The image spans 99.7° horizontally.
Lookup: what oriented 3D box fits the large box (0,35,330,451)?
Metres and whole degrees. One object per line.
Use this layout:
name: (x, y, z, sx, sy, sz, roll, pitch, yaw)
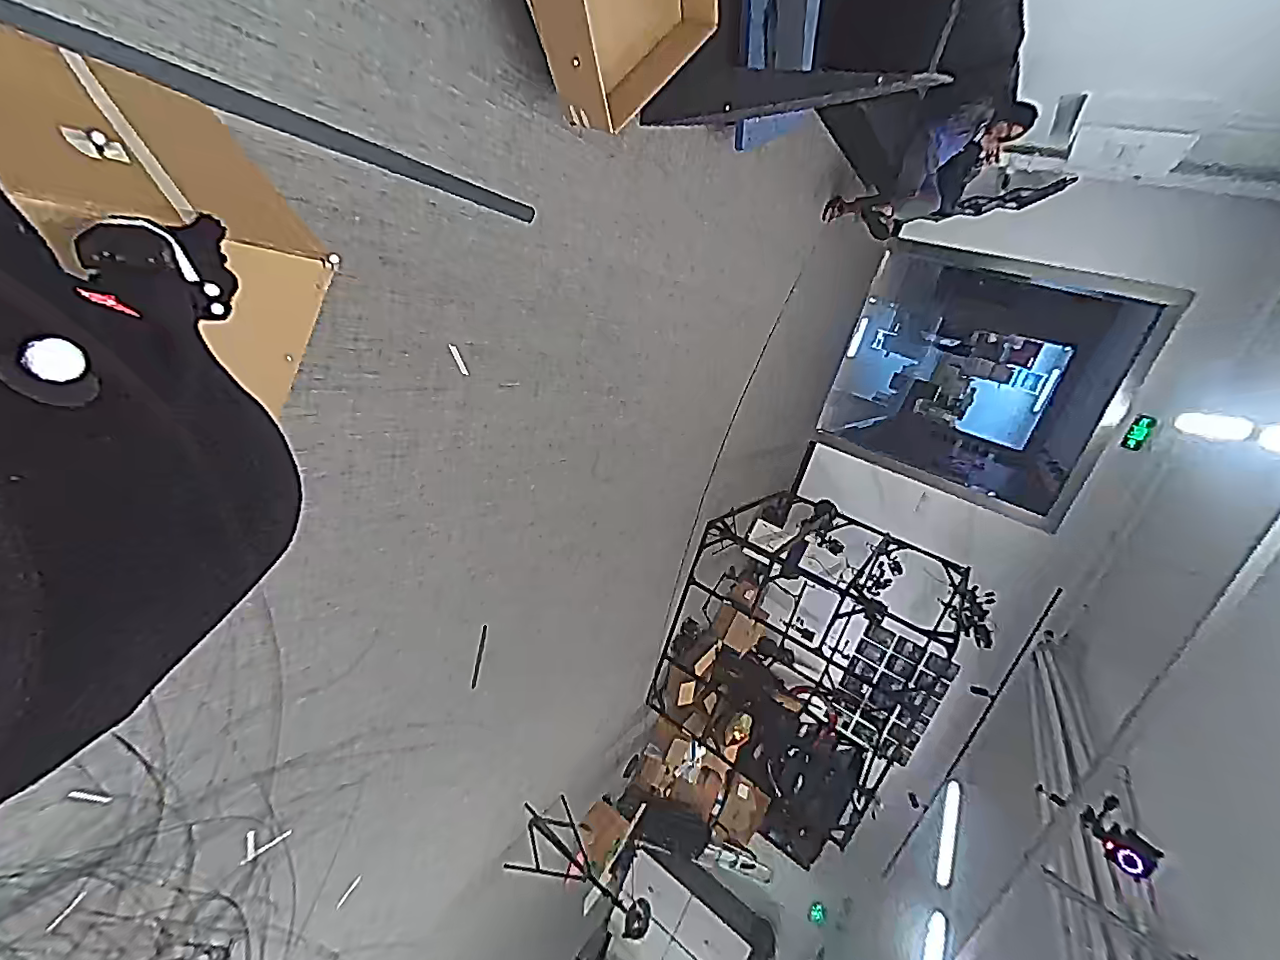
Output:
large box: (-0.706, -0.295, 0.710, 0.320, 0.408, 0.320, -50, 163, 27)
